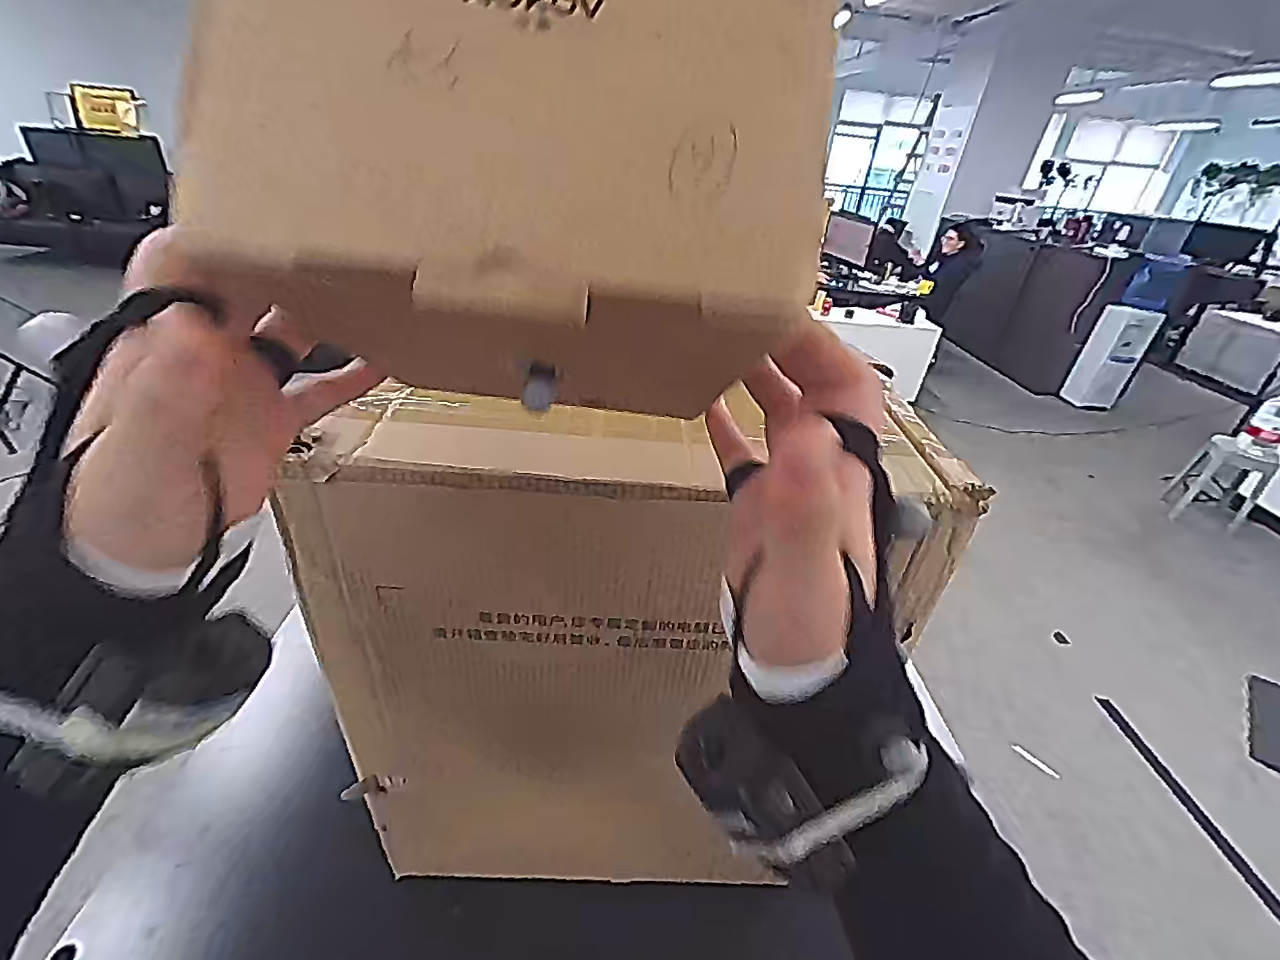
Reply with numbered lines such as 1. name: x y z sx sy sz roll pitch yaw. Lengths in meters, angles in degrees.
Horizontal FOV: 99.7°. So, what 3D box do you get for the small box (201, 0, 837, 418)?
1. small box: -0.032 -0.124 0.227 0.168 0.179 0.176 5 0 -4
